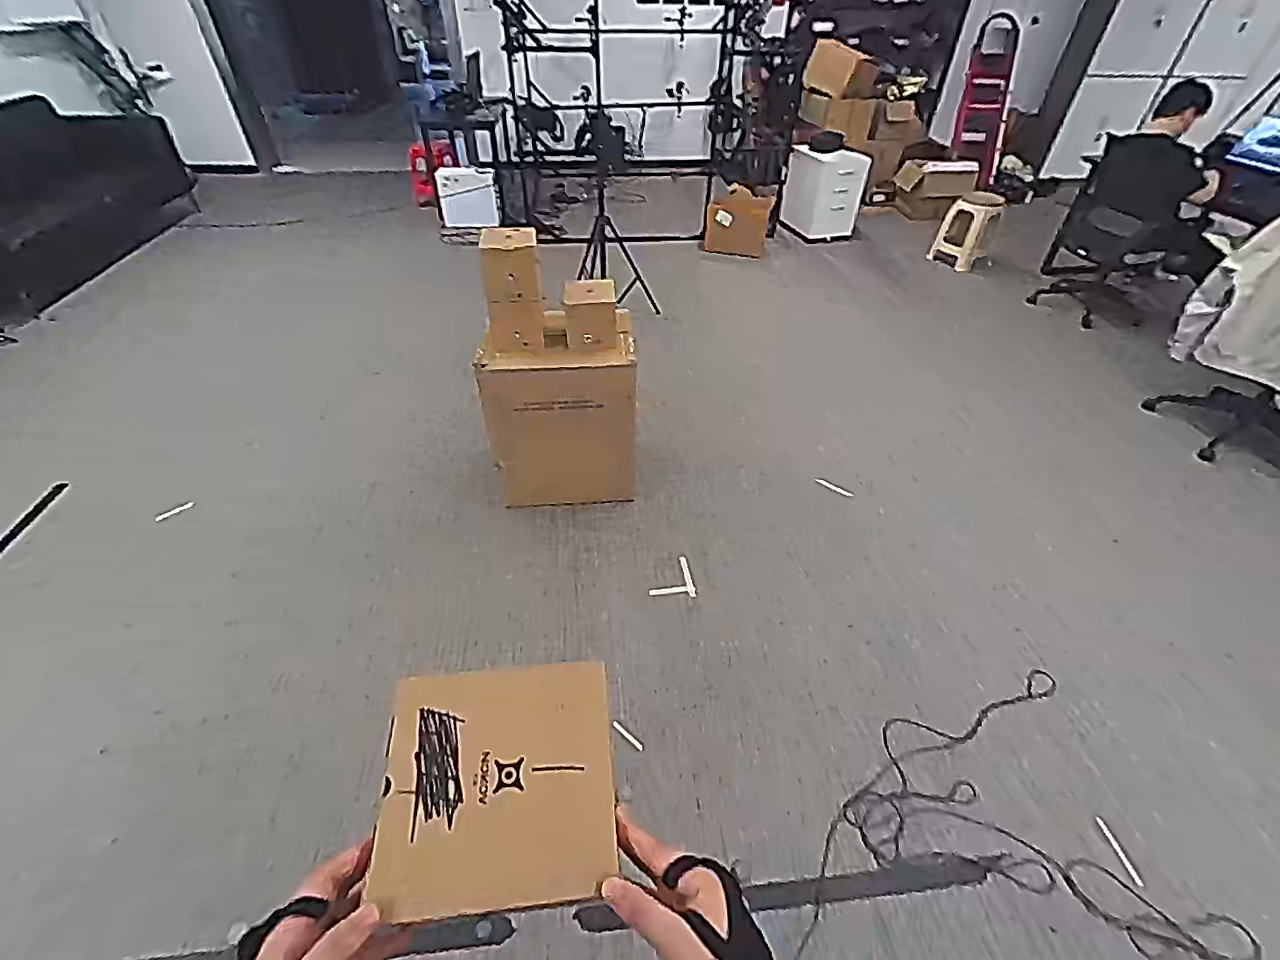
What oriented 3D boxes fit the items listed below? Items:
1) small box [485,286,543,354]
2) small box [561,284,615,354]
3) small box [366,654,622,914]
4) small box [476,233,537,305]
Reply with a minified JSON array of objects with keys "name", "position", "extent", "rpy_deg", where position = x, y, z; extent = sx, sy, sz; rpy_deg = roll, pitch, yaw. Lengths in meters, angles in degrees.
[{"name":"small box","position":[-0.418,-0.539,1.814],"extent":[0.168,0.176,0.179],"rpy_deg":[-4,43,-7]},{"name":"small box","position":[-0.175,-0.544,1.827],"extent":[0.168,0.176,0.179],"rpy_deg":[-5,44,-4]},{"name":"small box","position":[-0.109,0.271,0.478],"extent":[0.179,0.176,0.168],"rpy_deg":[-3,52,-6]},{"name":"small box","position":[-0.415,-0.662,1.705],"extent":[0.168,0.176,0.179],"rpy_deg":[-5,43,-8]}]
